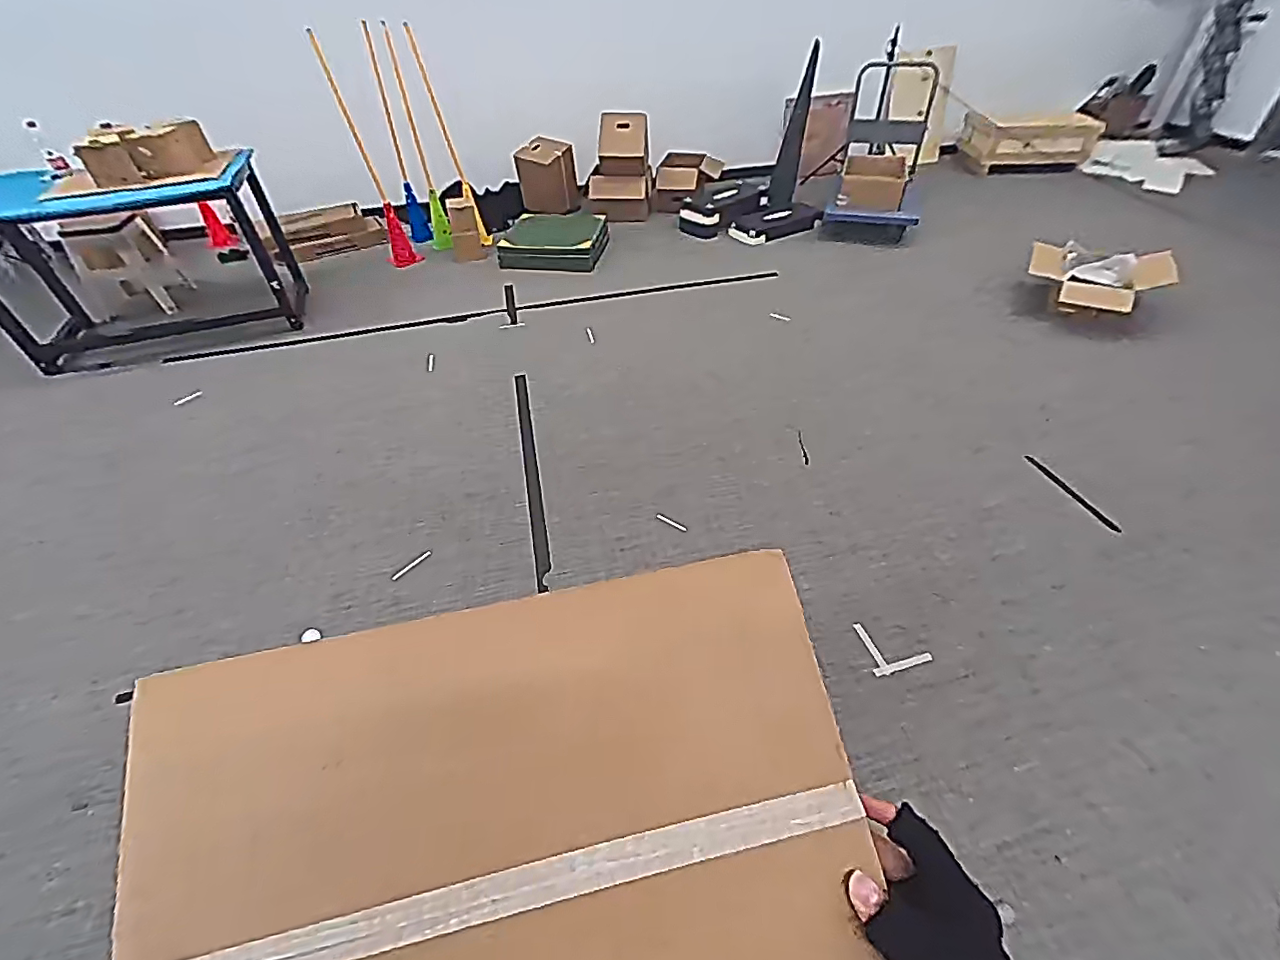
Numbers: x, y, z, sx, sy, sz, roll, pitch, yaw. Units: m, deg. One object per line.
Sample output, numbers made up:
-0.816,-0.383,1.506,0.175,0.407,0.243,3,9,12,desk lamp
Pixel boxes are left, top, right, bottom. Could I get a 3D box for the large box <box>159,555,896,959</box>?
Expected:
-0.074,0.280,0.450,0.408,0.320,0.320,-10,72,-7,large box
